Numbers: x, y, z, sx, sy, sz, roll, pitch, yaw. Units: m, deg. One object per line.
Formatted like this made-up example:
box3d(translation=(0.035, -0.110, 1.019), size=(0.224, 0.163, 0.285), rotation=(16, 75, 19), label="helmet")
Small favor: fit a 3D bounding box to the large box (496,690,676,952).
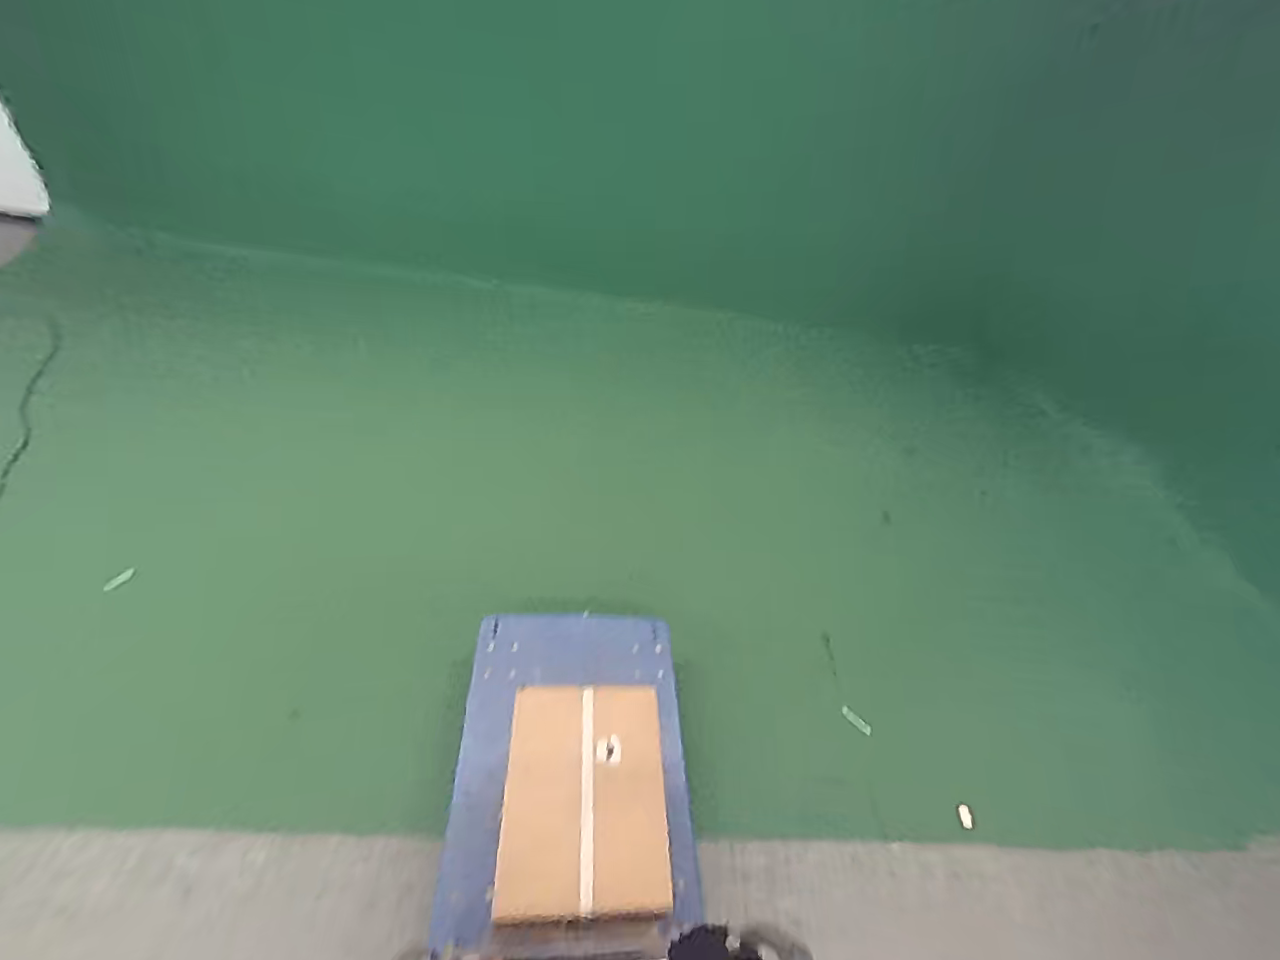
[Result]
box3d(translation=(-0.121, 0.713, 1.152), size=(0.320, 0.320, 0.408), rotation=(4, 42, -8), label="large box")
